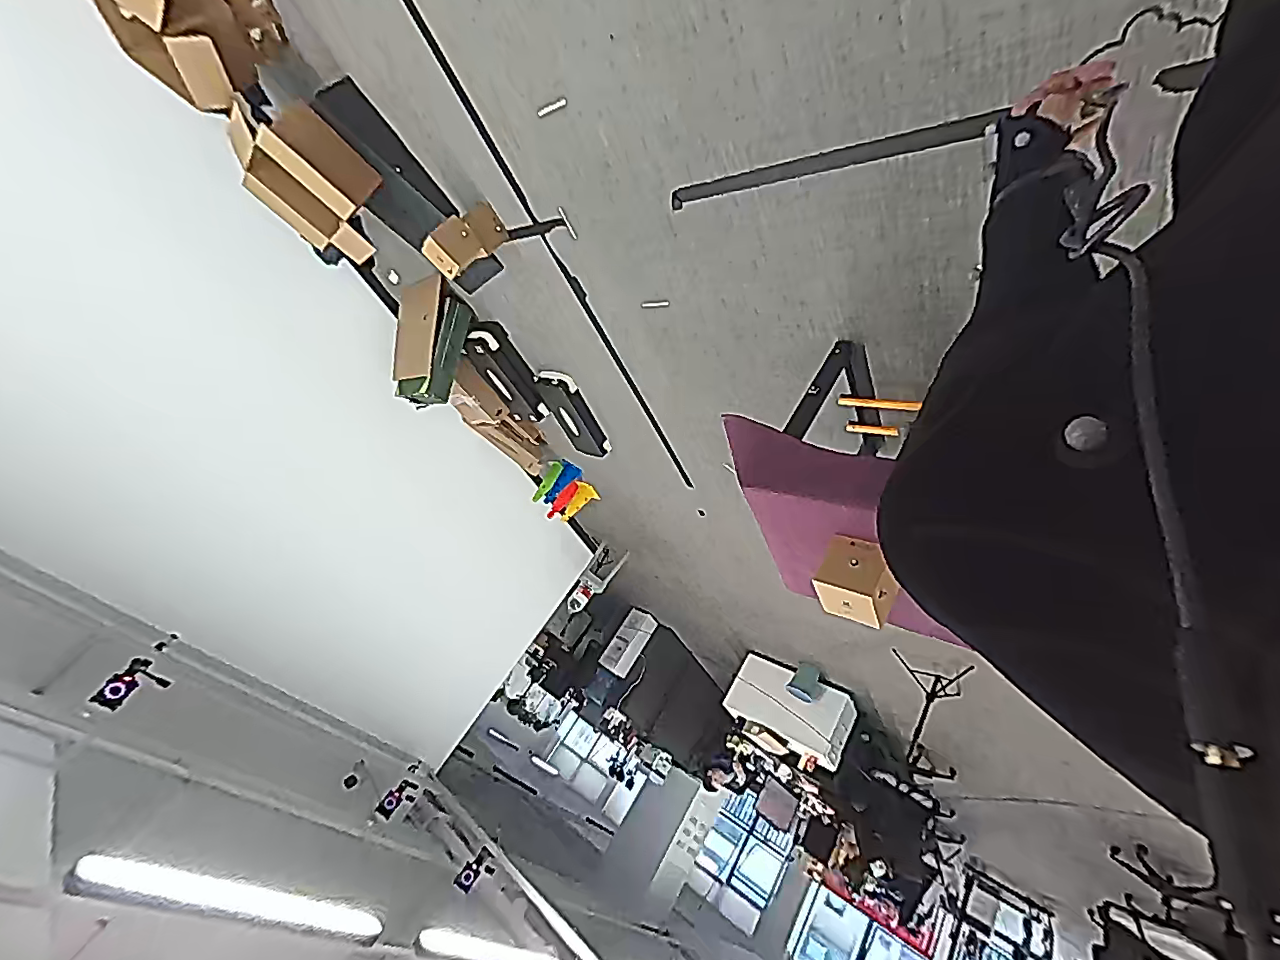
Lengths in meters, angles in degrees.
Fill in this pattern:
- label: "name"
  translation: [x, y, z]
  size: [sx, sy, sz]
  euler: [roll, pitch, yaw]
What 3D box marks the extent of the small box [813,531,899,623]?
- label: "small box"
  translation: [0.613, 0.267, 1.524]
  size: [0.168, 0.176, 0.179]
  euler: [13, 148, 42]
